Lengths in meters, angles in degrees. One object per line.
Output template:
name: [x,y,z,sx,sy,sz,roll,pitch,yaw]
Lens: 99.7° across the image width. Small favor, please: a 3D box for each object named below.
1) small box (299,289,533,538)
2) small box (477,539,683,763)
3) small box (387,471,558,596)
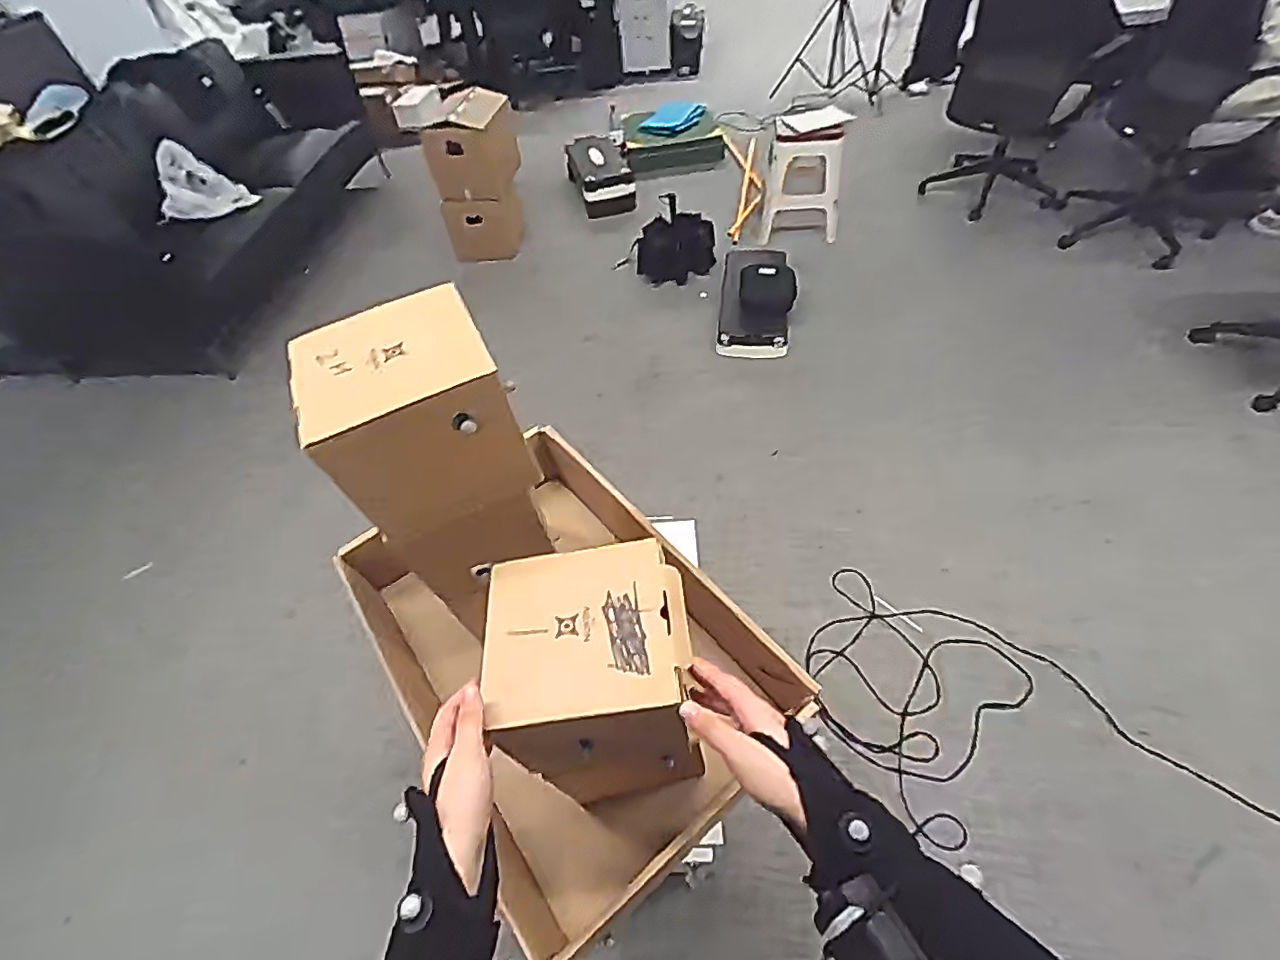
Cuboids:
small box: [-0.230,-0.069,0.587,0.179,0.176,0.168,-25,53,-10]
small box: [-0.051,0.185,0.571,0.179,0.176,0.168,-9,50,3]
small box: [-0.226,0.024,0.724,0.168,0.176,0.179,-23,54,-8]
